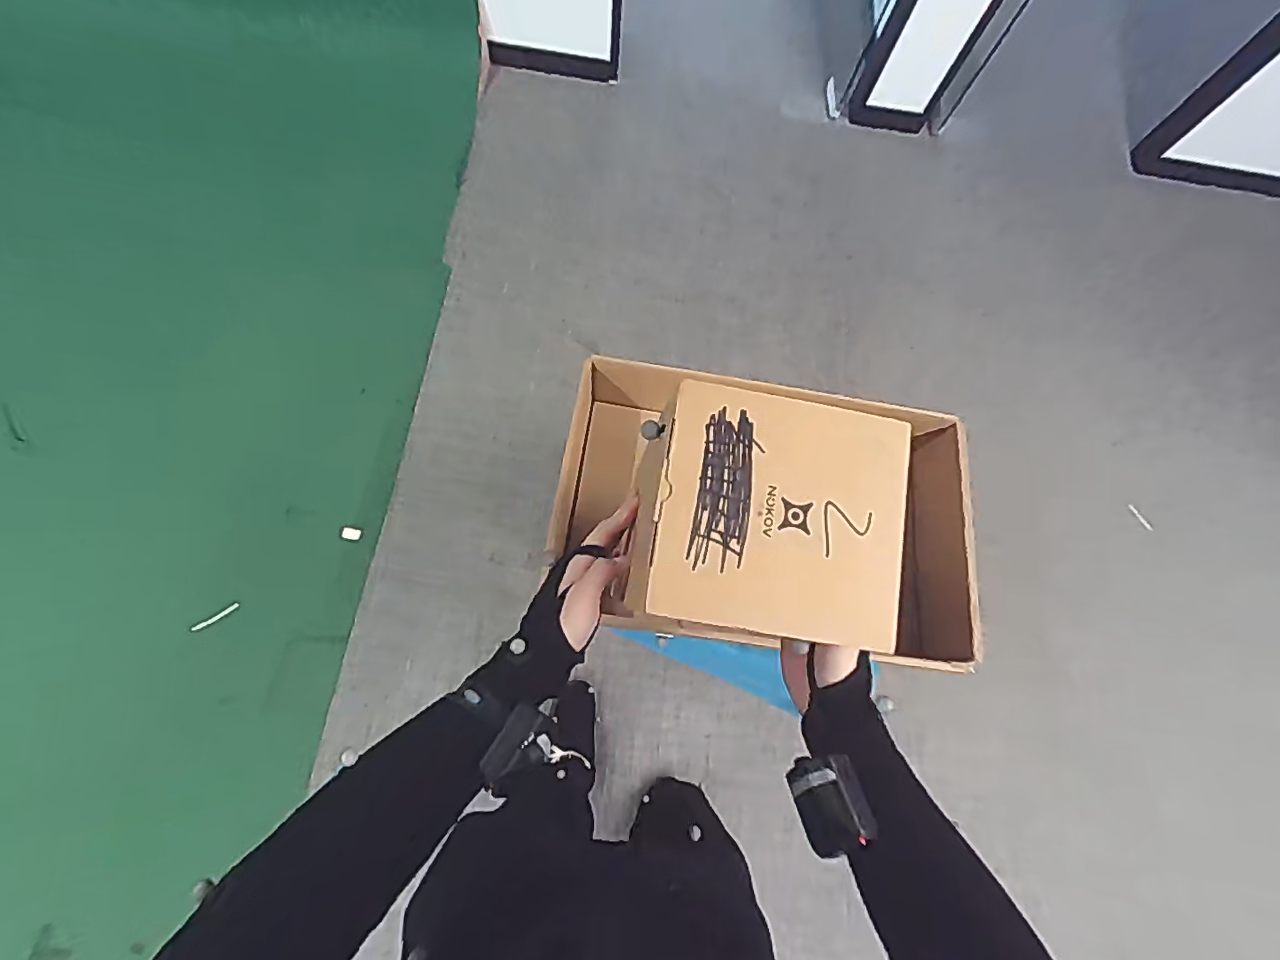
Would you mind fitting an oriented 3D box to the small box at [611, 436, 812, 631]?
[{"bbox_3d":[0.069,0.064,0.614,0.179,0.176,0.168,12,79,-3],"label":"small box"}]
